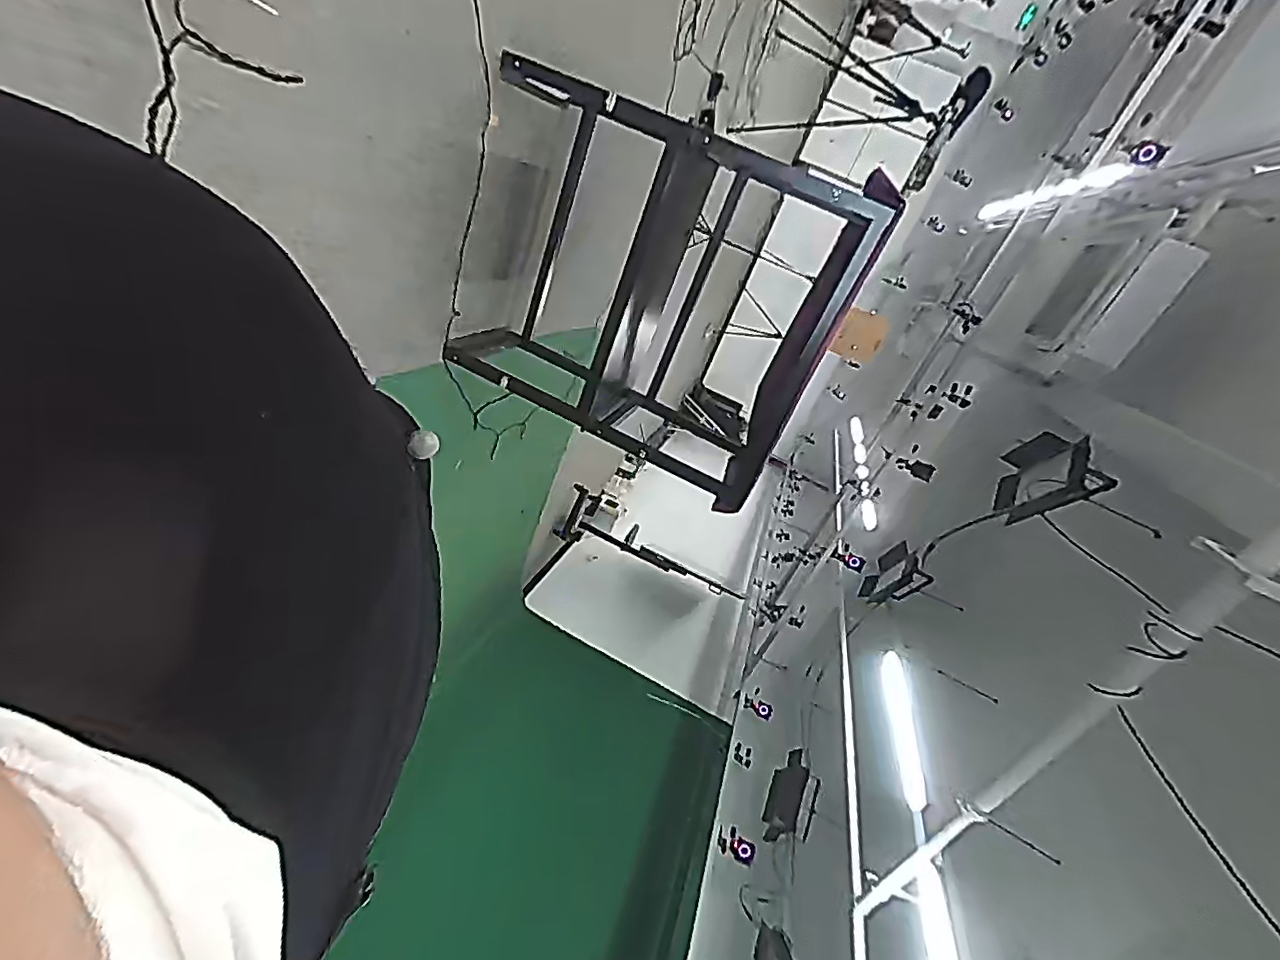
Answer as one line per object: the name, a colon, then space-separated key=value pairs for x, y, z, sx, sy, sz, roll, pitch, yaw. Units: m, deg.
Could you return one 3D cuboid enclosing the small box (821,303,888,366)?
small box: x=0.784 y=-0.540 z=1.991 sx=0.168 sy=0.176 sz=0.179 roll=-66 pitch=174 yaw=25
